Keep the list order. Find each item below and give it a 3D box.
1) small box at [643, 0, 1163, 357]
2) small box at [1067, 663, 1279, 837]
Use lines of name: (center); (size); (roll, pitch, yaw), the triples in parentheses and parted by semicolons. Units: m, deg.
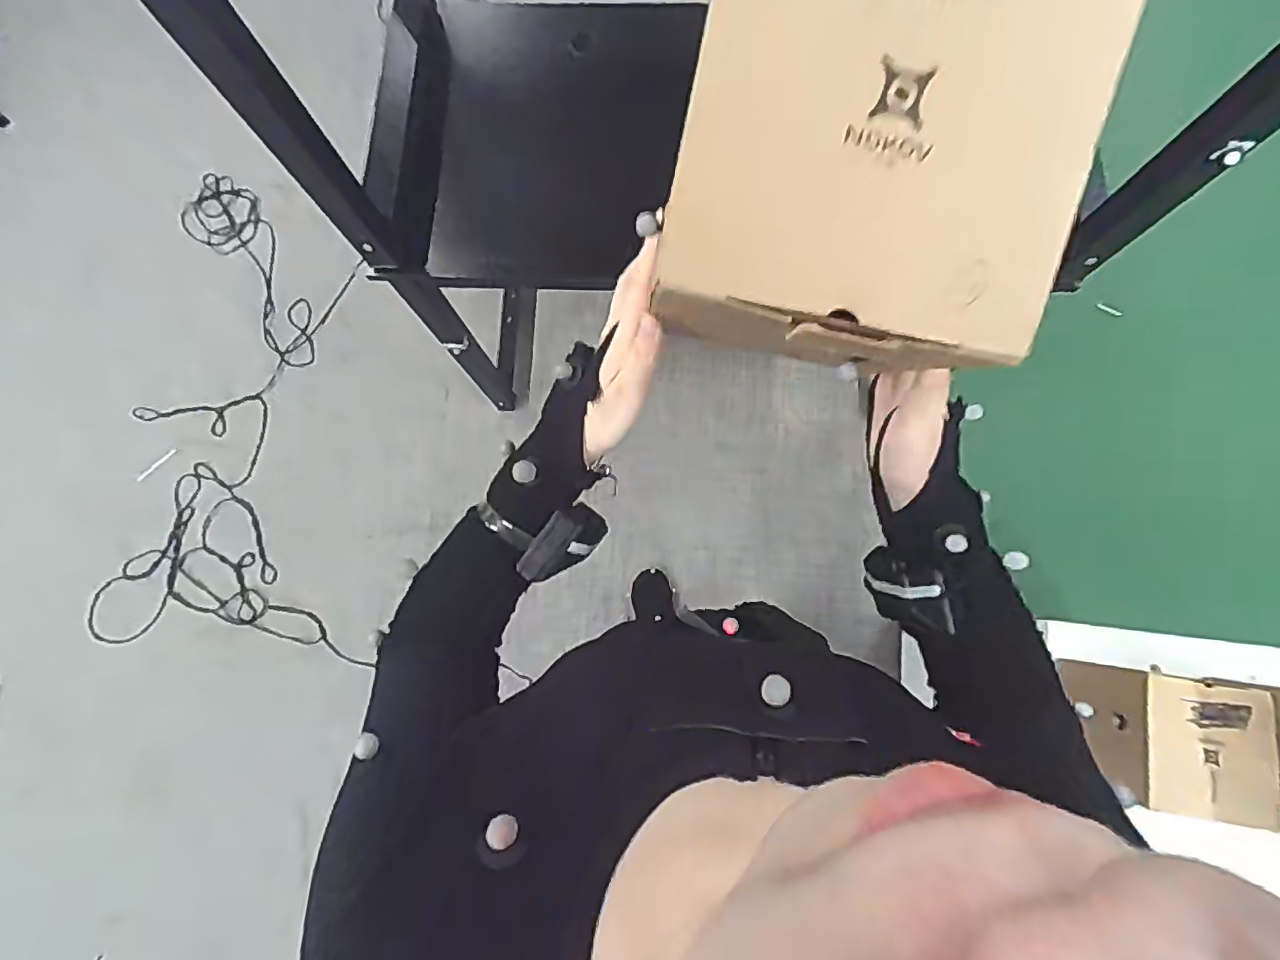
small box: (0.098, -0.165, 0.277); (0.168, 0.176, 0.179); (10, 100, -3)
small box: (0.753, 0.369, 0.771); (0.168, 0.176, 0.179); (9, 79, 3)
